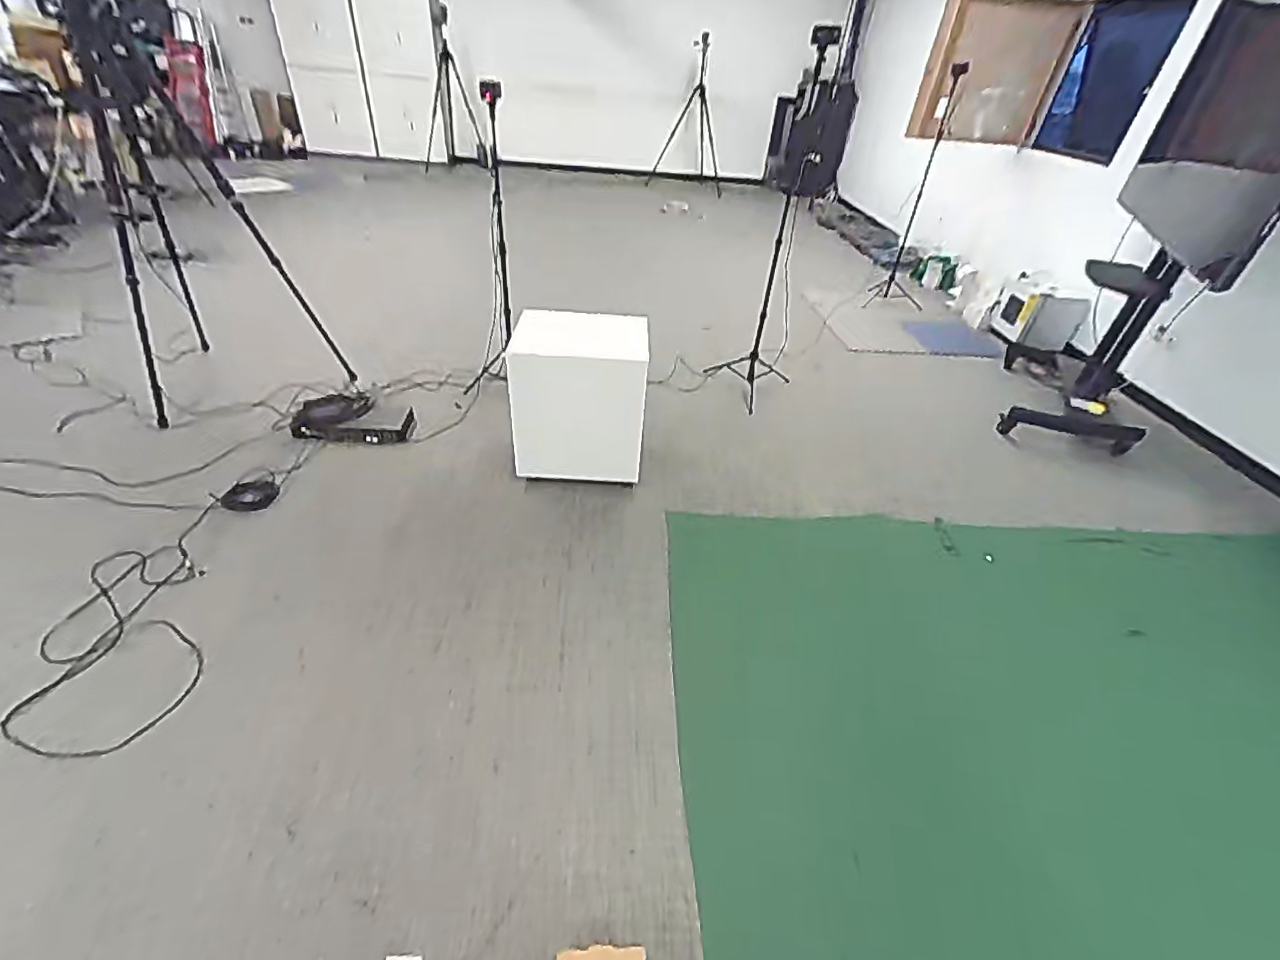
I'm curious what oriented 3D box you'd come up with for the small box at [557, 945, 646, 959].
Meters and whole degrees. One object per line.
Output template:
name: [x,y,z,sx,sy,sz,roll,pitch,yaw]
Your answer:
small box: [-0.074,0.979,0.986,0.168,0.176,0.179,3,39,-5]
